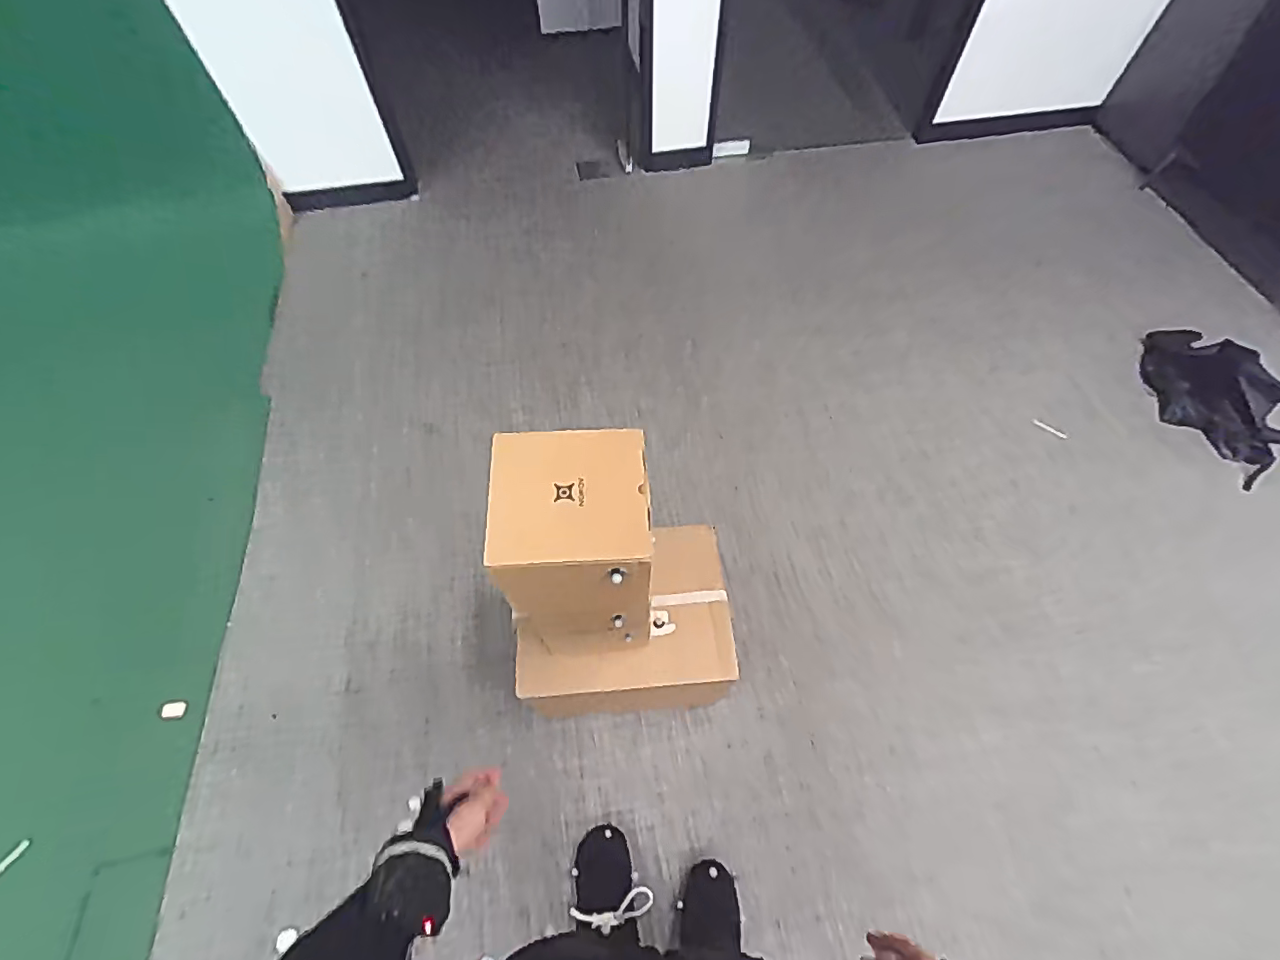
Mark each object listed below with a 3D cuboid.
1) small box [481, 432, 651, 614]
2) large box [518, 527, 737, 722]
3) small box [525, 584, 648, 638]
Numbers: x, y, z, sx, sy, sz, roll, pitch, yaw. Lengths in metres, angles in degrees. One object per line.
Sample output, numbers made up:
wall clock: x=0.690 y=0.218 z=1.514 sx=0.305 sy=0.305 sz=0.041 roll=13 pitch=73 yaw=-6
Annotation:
small box: x=-0.081 y=0.059 z=0.657 sx=0.179 sy=0.176 sz=0.168 roll=-2 pitch=60 yaw=-4
large box: x=-0.039 y=0.319 z=1.165 sx=0.408 sy=0.320 sz=0.320 roll=-4 pitch=61 yaw=-4
small box: x=-0.078 y=0.129 z=0.804 sx=0.168 sy=0.176 sz=0.179 roll=-4 pitch=59 yaw=-5
